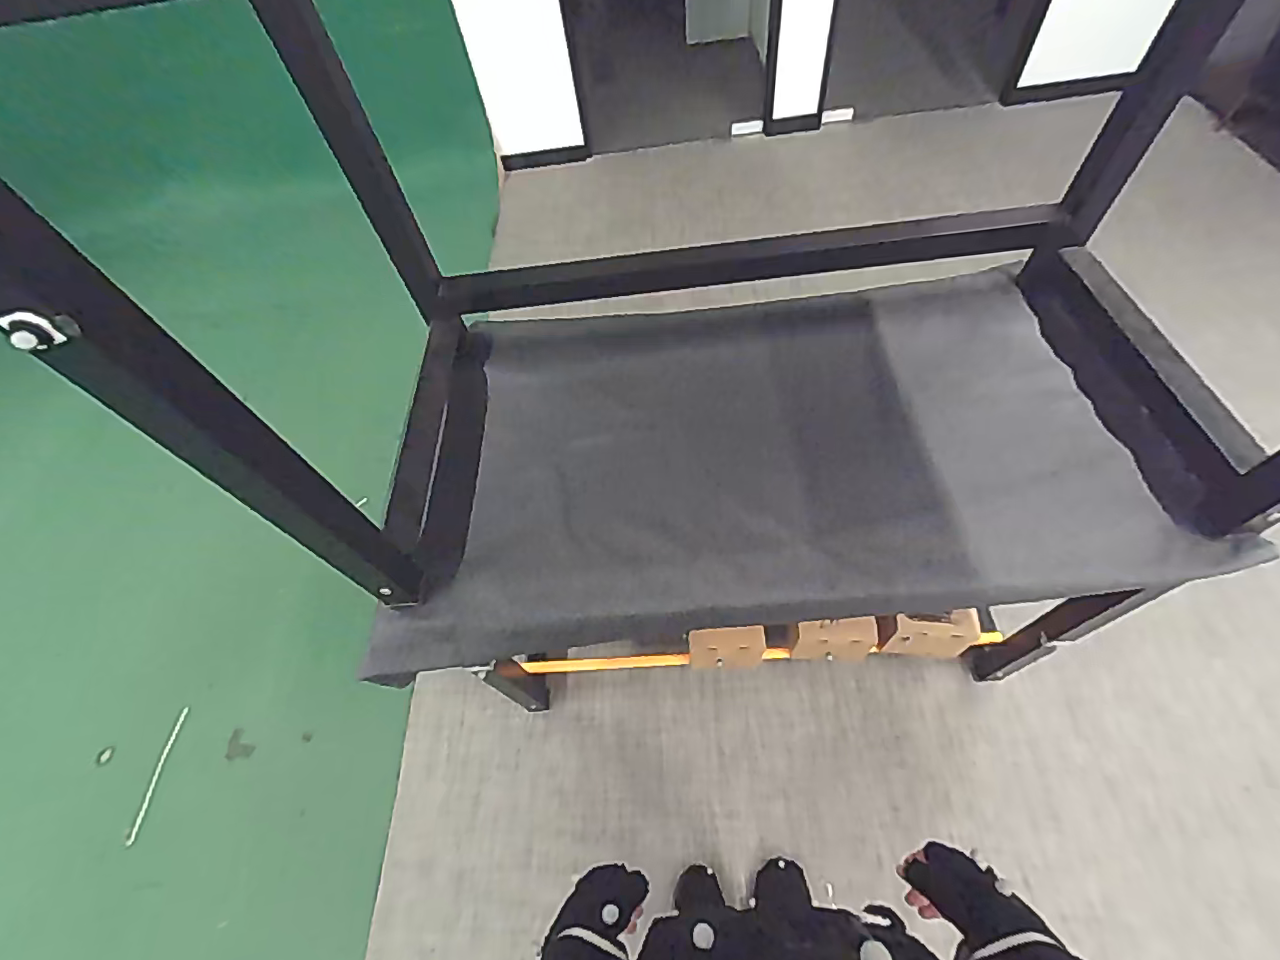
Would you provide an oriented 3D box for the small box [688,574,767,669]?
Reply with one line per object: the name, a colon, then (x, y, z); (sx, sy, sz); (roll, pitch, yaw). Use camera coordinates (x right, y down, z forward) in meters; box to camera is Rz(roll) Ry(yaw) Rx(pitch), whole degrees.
small box: (0.200, 0.337, 1.279); (0.168, 0.176, 0.179); (-3, 59, 5)
